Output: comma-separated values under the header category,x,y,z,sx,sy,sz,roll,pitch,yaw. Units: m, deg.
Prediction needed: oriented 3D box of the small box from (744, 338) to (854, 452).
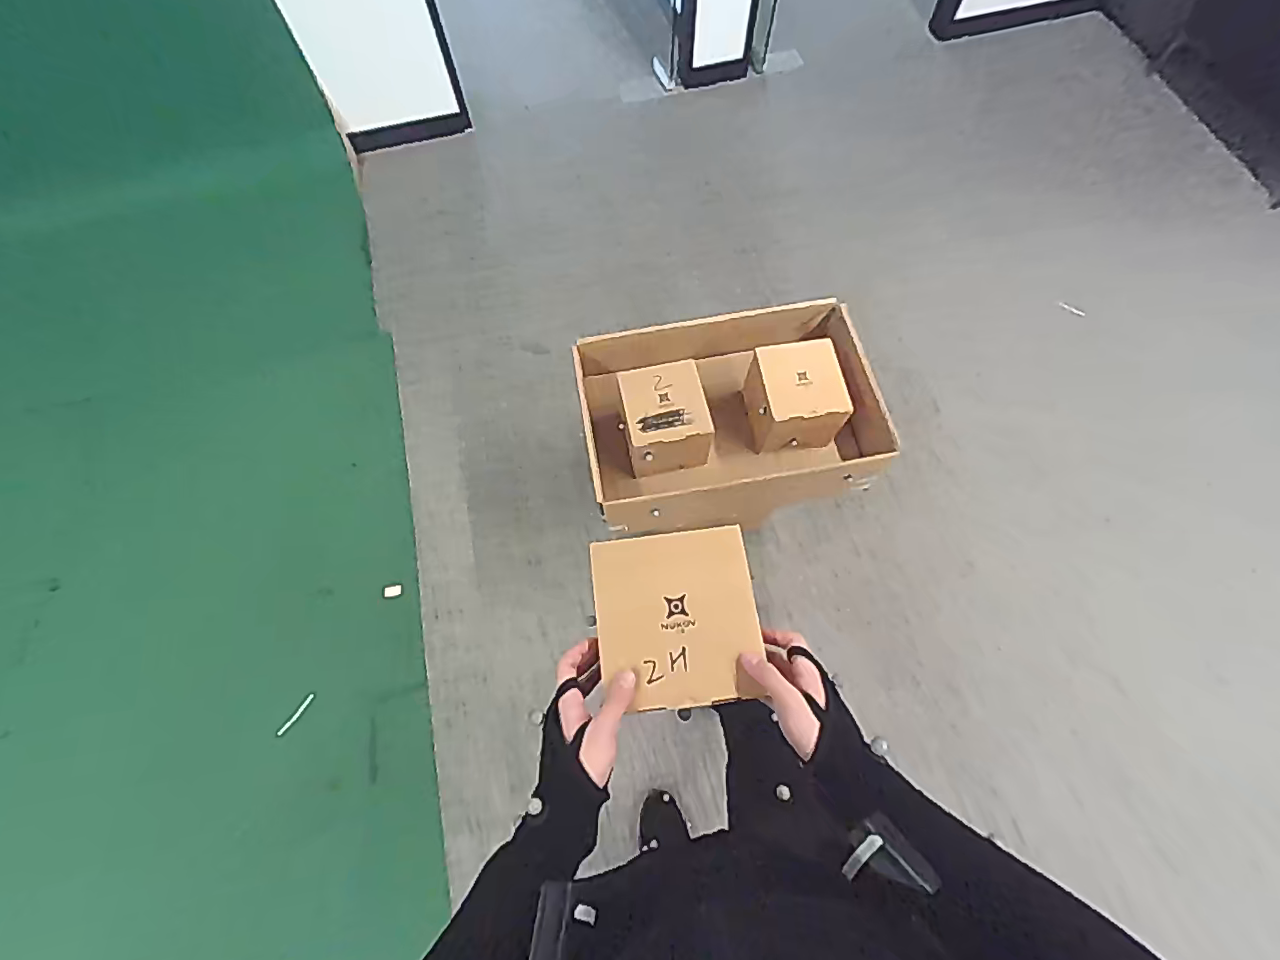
category,x,y,z,sx,sy,sz,roll,pitch,yaw
small box,0.334,-0.180,1.174,0.168,0.176,0.179,-8,69,-3

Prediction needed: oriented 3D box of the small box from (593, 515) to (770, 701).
category,x,y,z,sx,sy,sz,roll,pitch,yaw
small box,0.039,0.156,0.626,0.168,0.176,0.179,-7,69,-1
